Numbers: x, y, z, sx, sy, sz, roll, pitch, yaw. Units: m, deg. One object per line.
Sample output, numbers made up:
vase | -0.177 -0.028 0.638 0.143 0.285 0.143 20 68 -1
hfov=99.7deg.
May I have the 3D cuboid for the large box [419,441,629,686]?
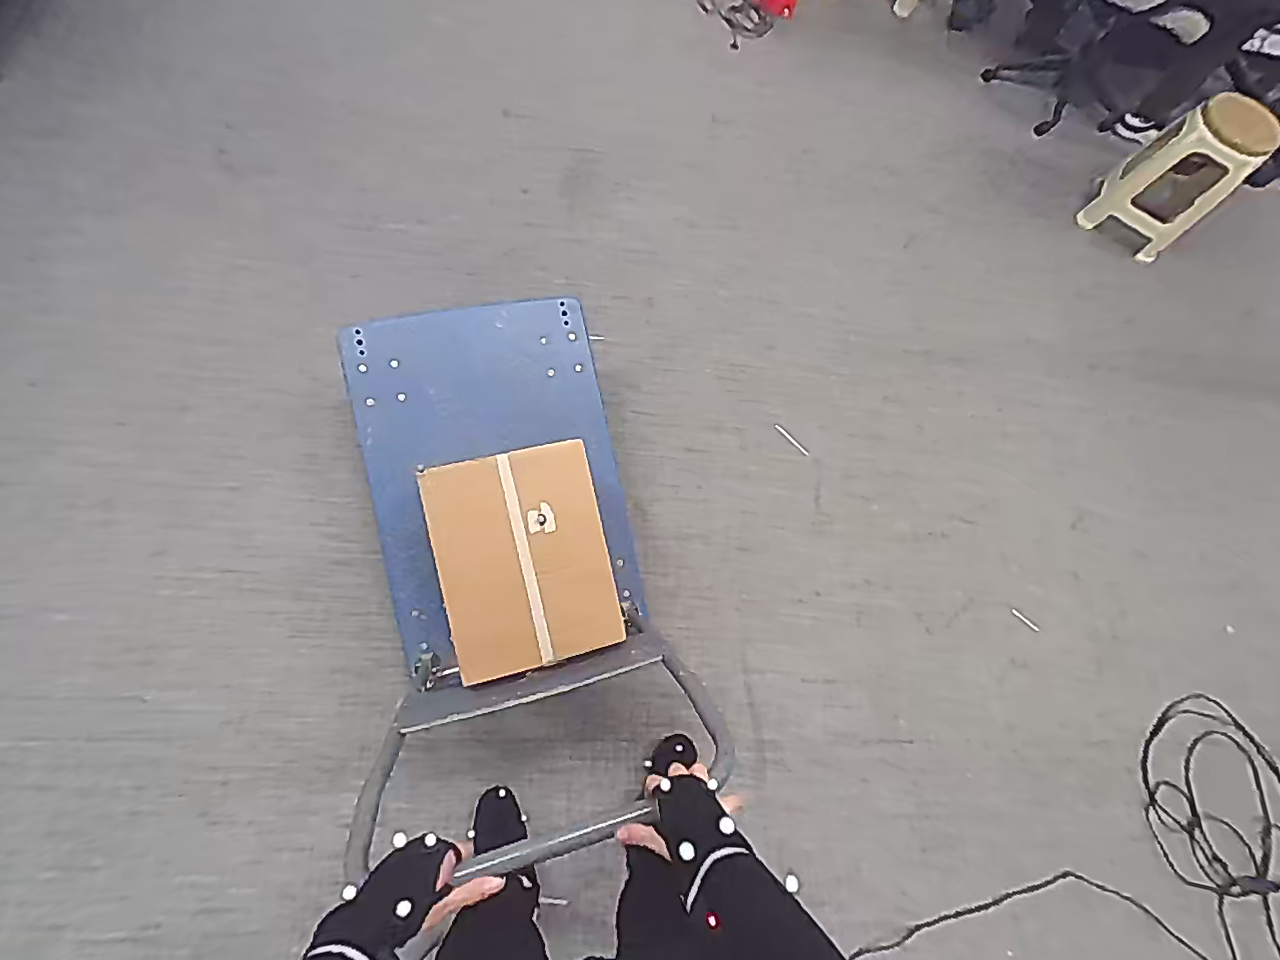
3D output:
large box | -0.238 0.159 1.151 0.320 0.320 0.408 -13 89 -13
